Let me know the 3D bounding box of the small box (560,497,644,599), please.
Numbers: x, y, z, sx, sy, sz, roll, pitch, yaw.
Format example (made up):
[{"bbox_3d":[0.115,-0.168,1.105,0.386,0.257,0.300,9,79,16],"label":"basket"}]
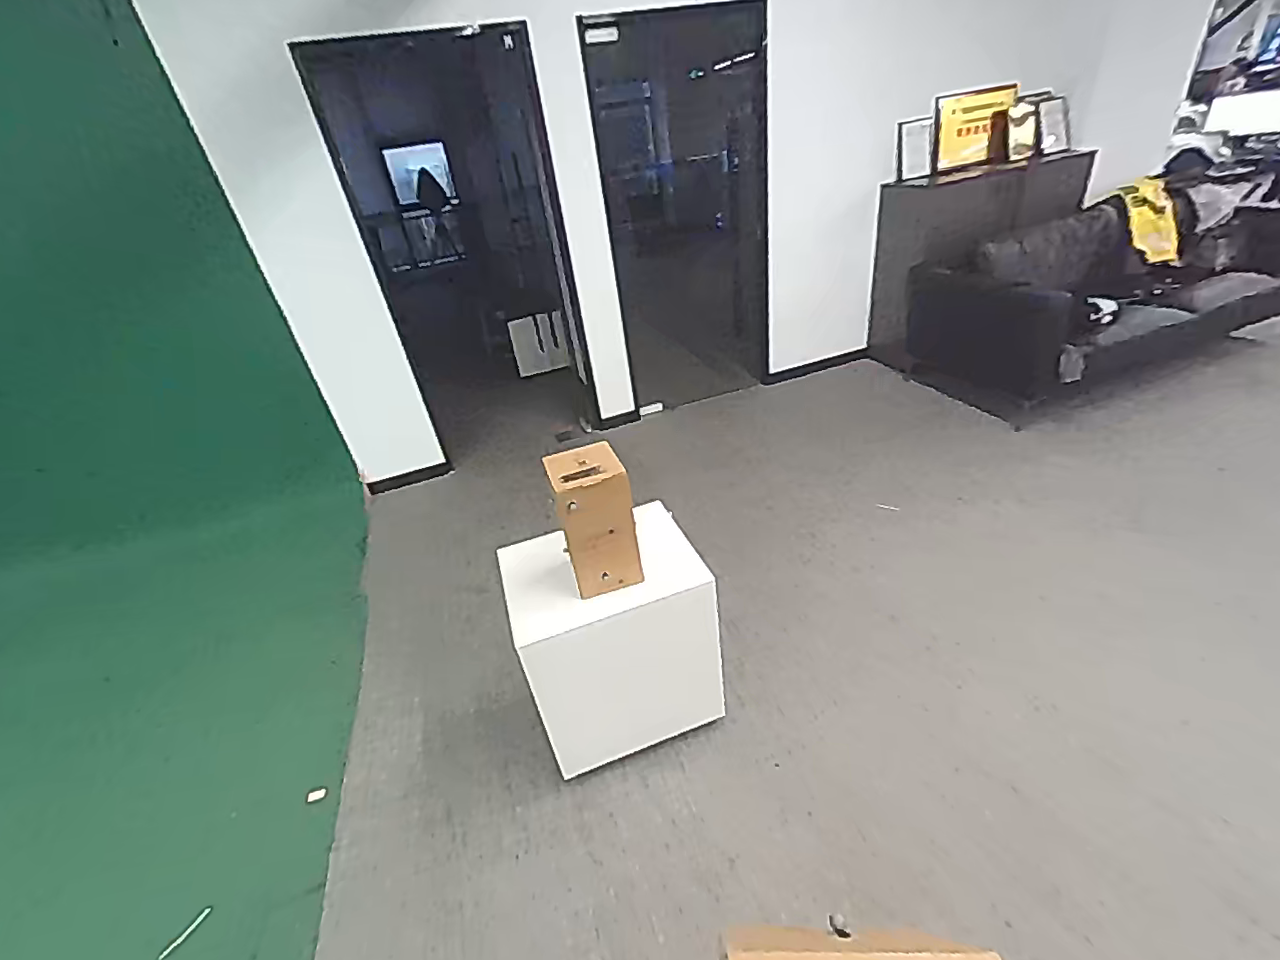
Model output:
[{"bbox_3d":[-0.097,0.171,1.377,0.168,0.176,0.179,-15,31,-10],"label":"small box"}]
